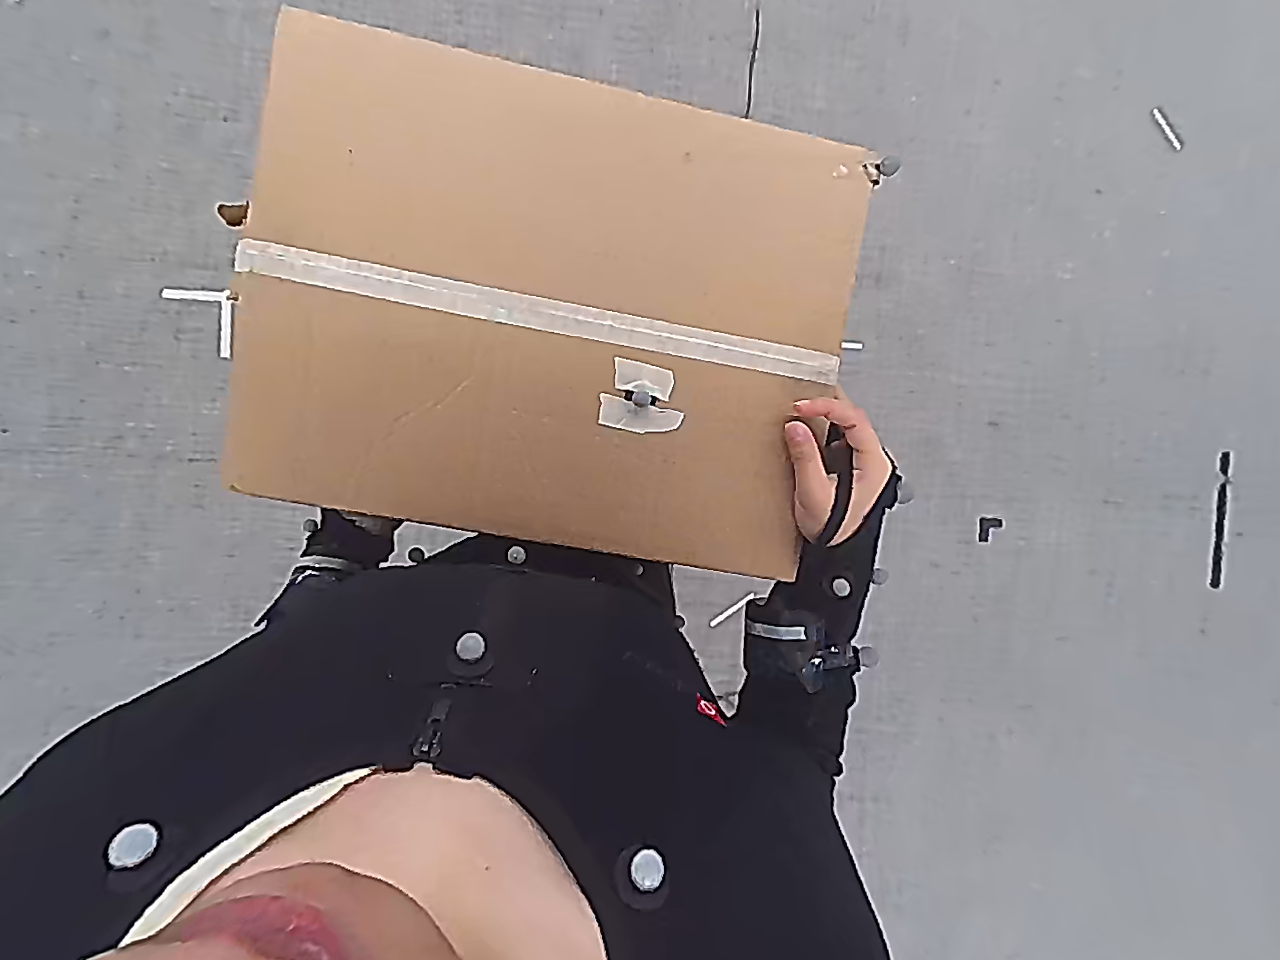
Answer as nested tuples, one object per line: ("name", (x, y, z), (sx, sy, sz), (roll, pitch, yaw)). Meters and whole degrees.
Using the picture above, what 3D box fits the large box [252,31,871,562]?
("large box", (-0.065, -0.127, 0.528), (0.408, 0.320, 0.320), (9, 95, -7))
